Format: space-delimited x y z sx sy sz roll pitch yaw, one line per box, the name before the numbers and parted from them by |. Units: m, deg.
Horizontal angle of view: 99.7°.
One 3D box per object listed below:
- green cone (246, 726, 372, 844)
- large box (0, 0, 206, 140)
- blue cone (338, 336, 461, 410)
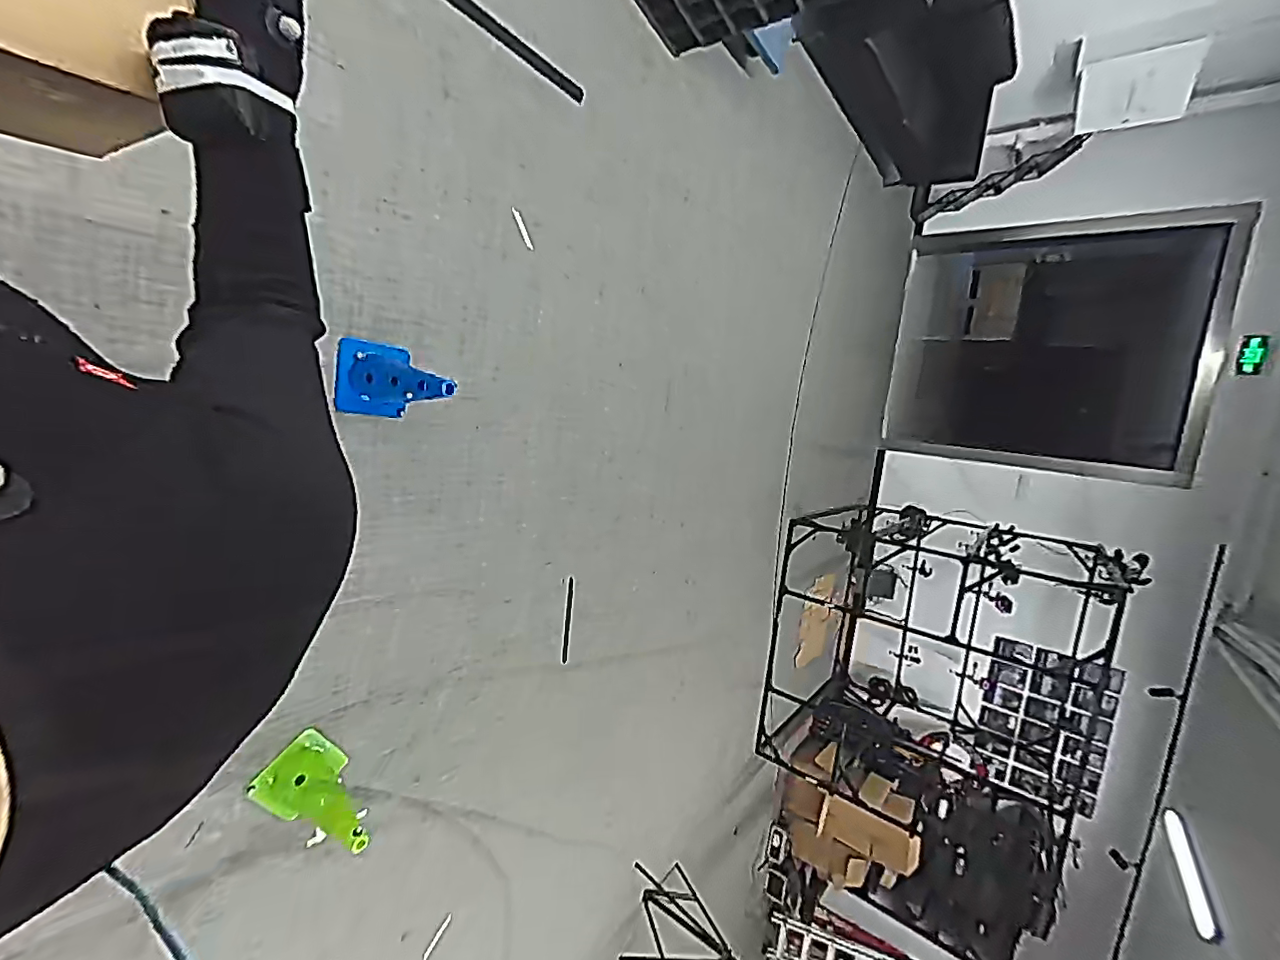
green cone | -0.820 0.846 1.419 0.202 0.368 0.200 -50 137 -35
large box | -0.535 -0.433 0.281 0.408 0.320 0.320 -11 114 -54
blue cone | -0.606 -0.265 1.411 0.192 0.380 0.193 2 98 -55
